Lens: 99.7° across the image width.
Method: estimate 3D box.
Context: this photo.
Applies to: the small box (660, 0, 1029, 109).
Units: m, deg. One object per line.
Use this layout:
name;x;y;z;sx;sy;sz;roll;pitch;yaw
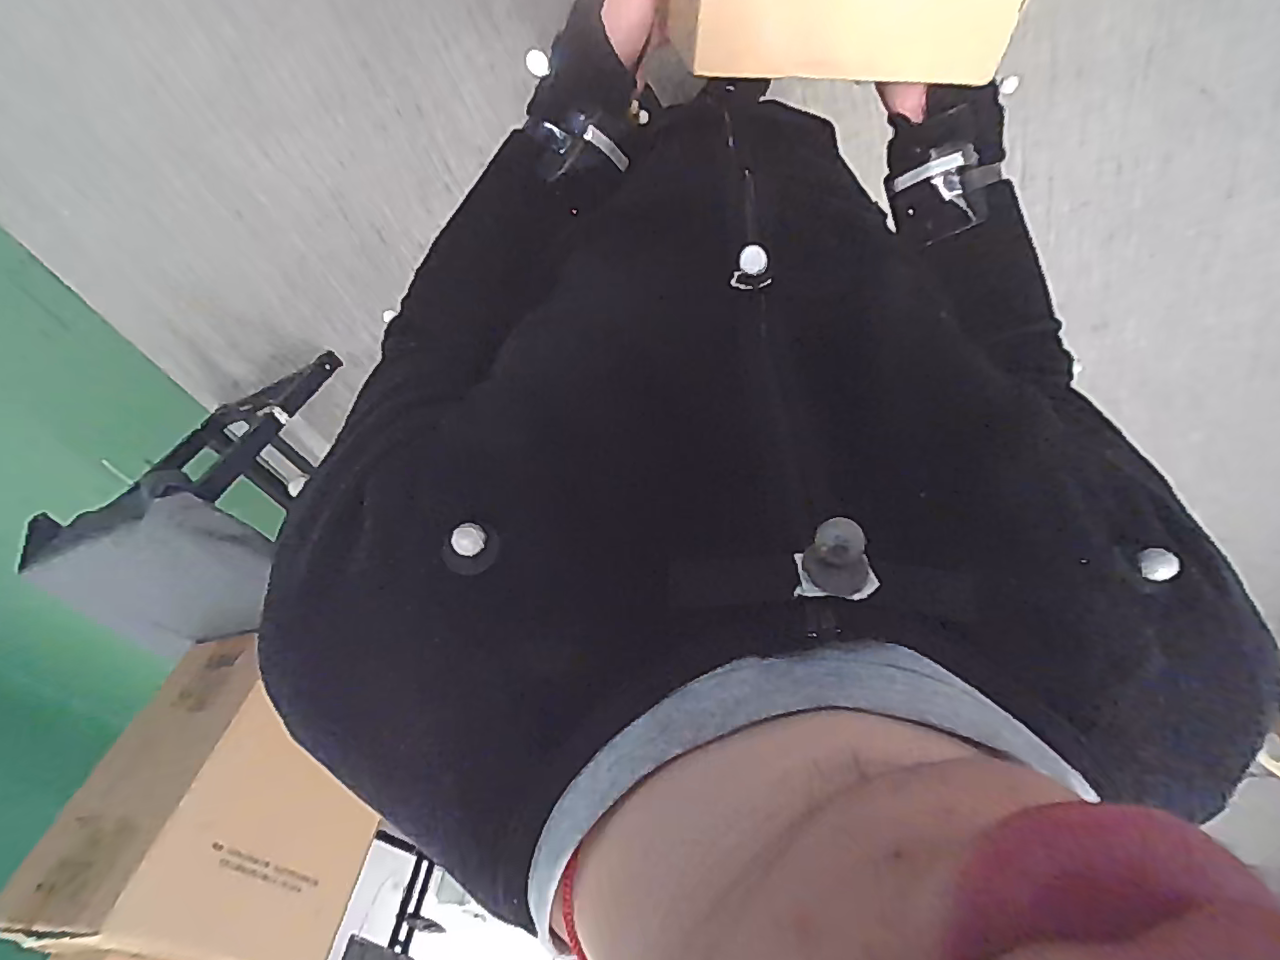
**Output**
small box;0.110;-0.327;0.304;0.179;0.176;0.168;-2;136;-4
